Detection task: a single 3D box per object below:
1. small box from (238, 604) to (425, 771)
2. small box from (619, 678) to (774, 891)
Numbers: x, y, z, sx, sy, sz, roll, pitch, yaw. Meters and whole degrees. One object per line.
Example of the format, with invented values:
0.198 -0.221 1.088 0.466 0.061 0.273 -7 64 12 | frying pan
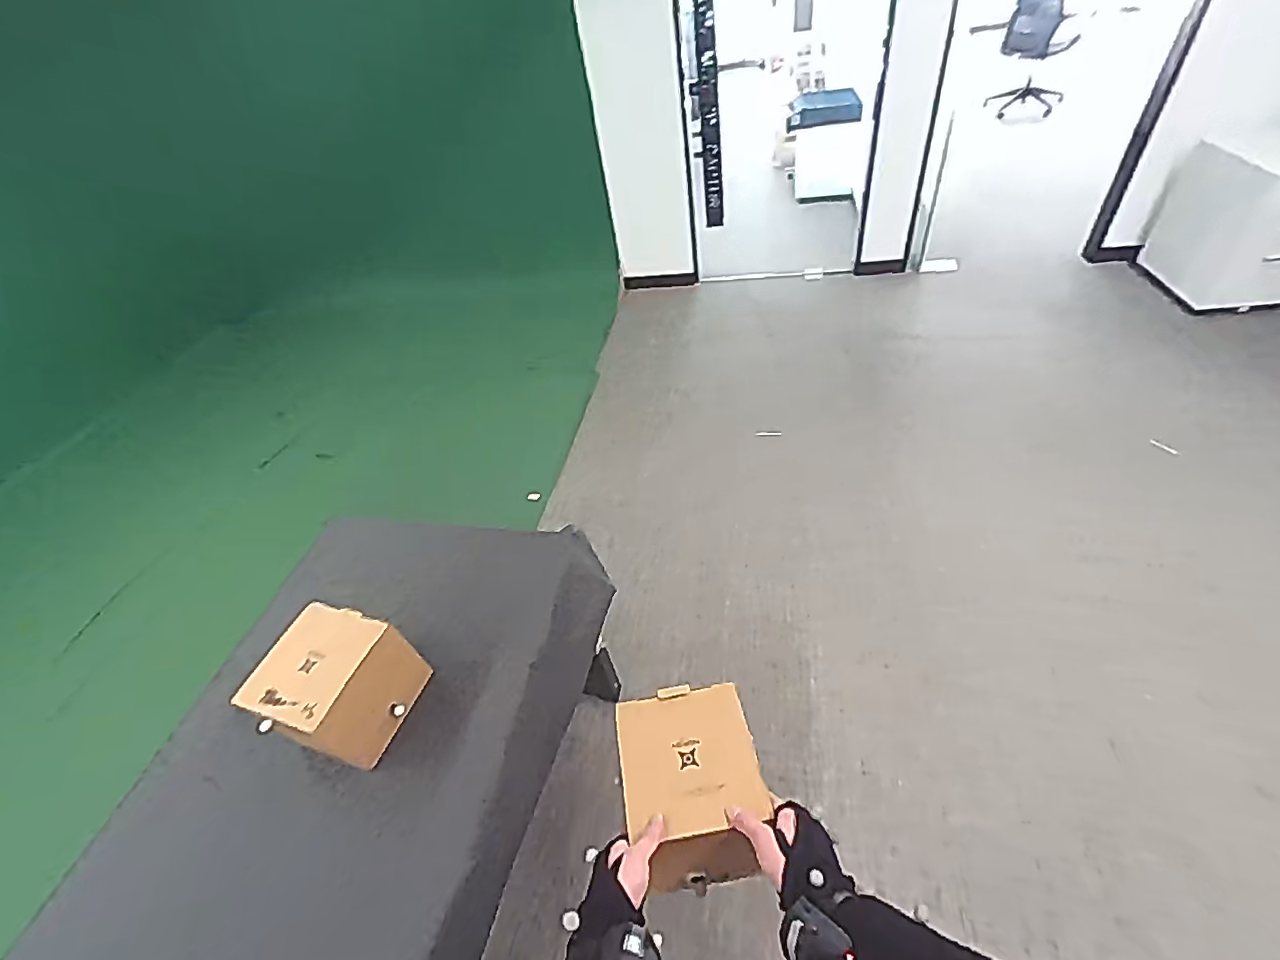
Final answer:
-0.479 0.335 0.877 0.168 0.176 0.179 9 48 20 | small box
0.067 0.388 0.696 0.168 0.176 0.179 -10 36 1 | small box
